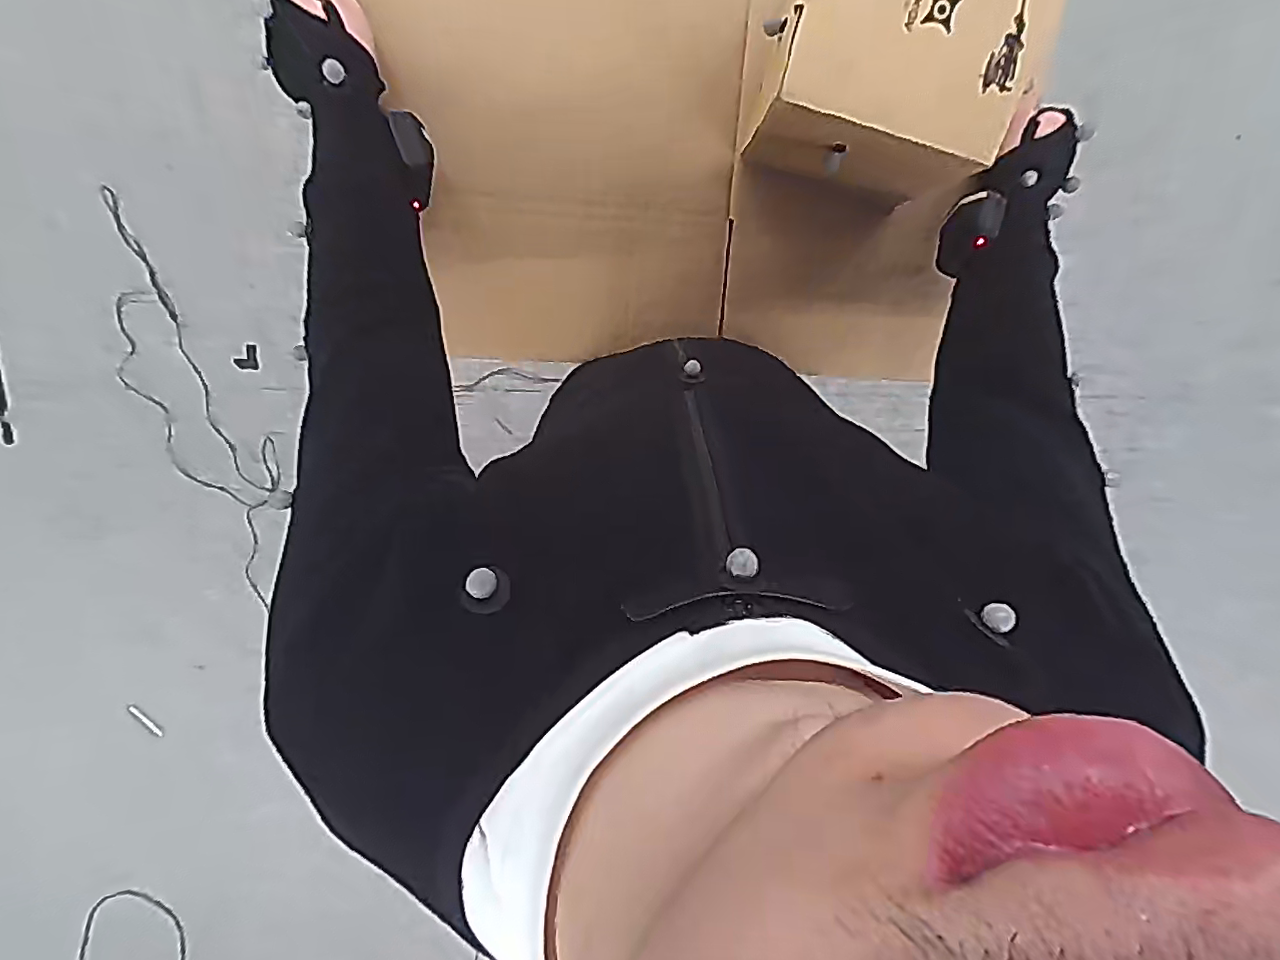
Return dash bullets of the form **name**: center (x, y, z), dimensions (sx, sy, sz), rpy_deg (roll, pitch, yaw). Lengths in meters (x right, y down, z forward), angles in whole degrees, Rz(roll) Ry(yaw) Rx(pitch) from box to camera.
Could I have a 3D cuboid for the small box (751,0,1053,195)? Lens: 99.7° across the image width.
- **small box**: center (0.208, -0.366, 0.464), dimensions (0.179, 0.176, 0.168), rpy_deg (15, 108, -2)
